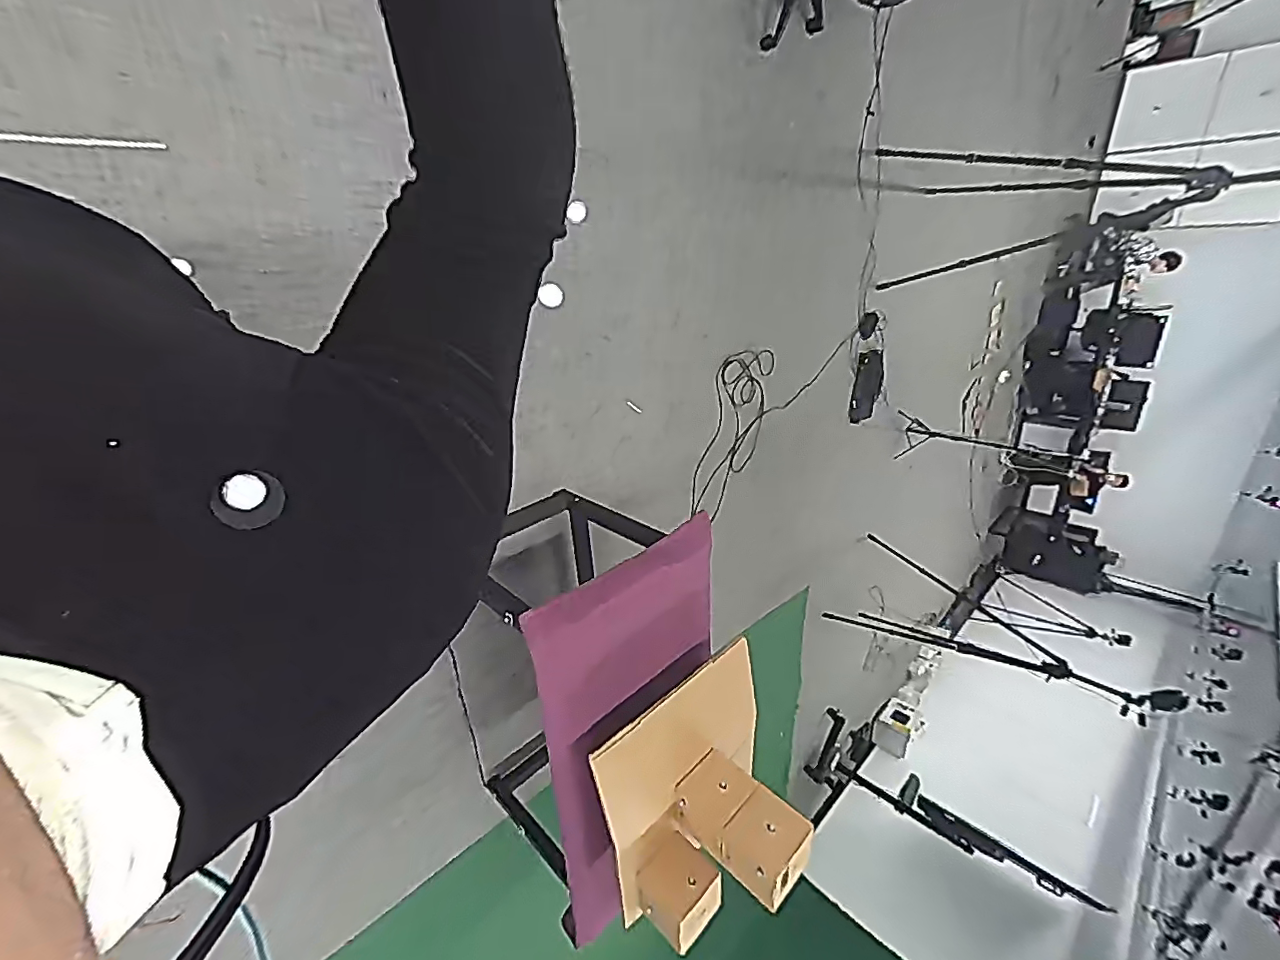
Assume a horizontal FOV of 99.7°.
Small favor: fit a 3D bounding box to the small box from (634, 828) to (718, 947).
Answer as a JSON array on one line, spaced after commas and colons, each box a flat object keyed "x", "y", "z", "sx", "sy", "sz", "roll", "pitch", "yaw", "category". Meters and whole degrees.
[{"x": 0.103, "y": 1.154, "z": 1.546, "sx": 0.179, "sy": 0.176, "sz": 0.168, "roll": -25, "pitch": 123, "yaw": -37, "category": "small box"}]

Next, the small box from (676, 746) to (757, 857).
[{"x": 0.216, "y": 0.917, "z": 1.558, "sx": 0.179, "sy": 0.176, "sz": 0.168, "roll": -26, "pitch": 126, "yaw": -37, "category": "small box"}]
